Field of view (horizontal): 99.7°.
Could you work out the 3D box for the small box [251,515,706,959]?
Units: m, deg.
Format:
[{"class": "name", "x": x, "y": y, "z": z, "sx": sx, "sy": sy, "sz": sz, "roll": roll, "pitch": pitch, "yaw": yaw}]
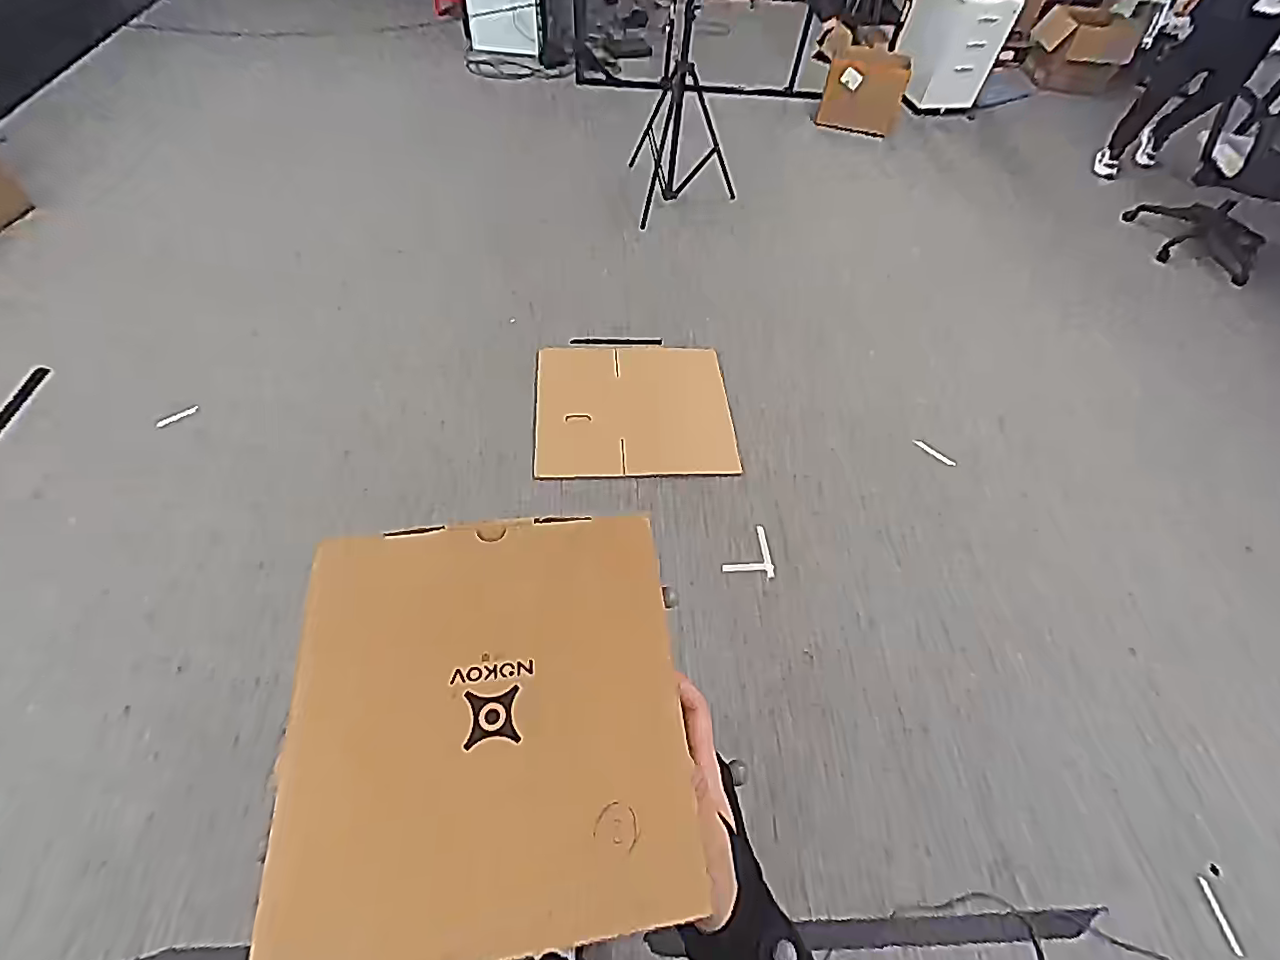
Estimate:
[{"class": "small box", "x": -0.072, "y": 0.139, "z": 0.302, "sx": 0.168, "sy": 0.176, "sz": 0.179, "roll": -5, "pitch": 60, "yaw": -10}]
